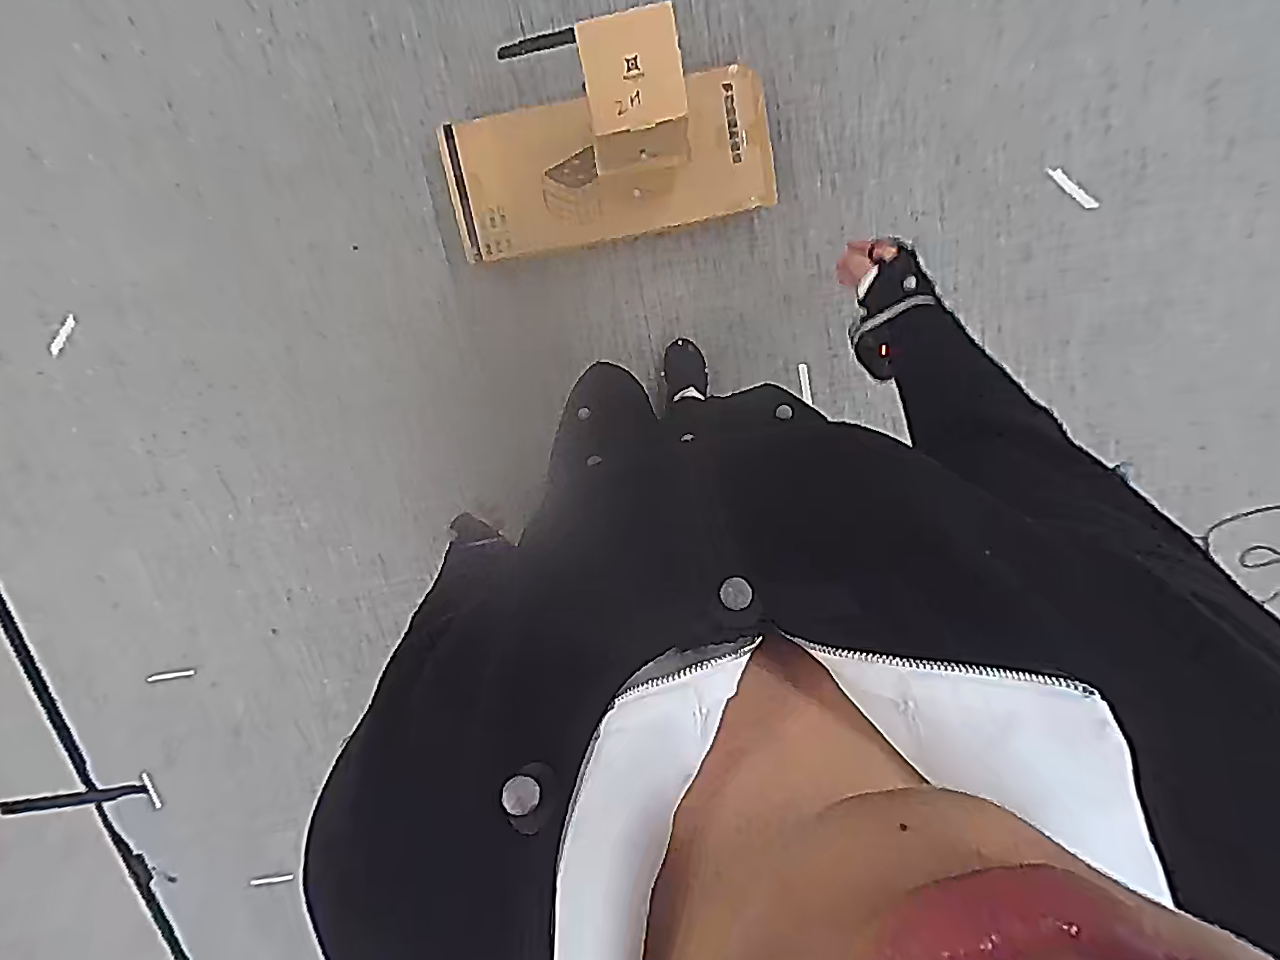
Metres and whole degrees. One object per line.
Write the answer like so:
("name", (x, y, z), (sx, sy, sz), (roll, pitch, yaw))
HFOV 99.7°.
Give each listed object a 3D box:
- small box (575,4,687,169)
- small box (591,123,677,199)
("small box", (-0.013, -0.699, 0.982), (0.168, 0.176, 0.179), (-11, 103, 3))
("small box", (-0.015, -0.721, 1.147), (0.168, 0.176, 0.179), (-6, 104, 2))
